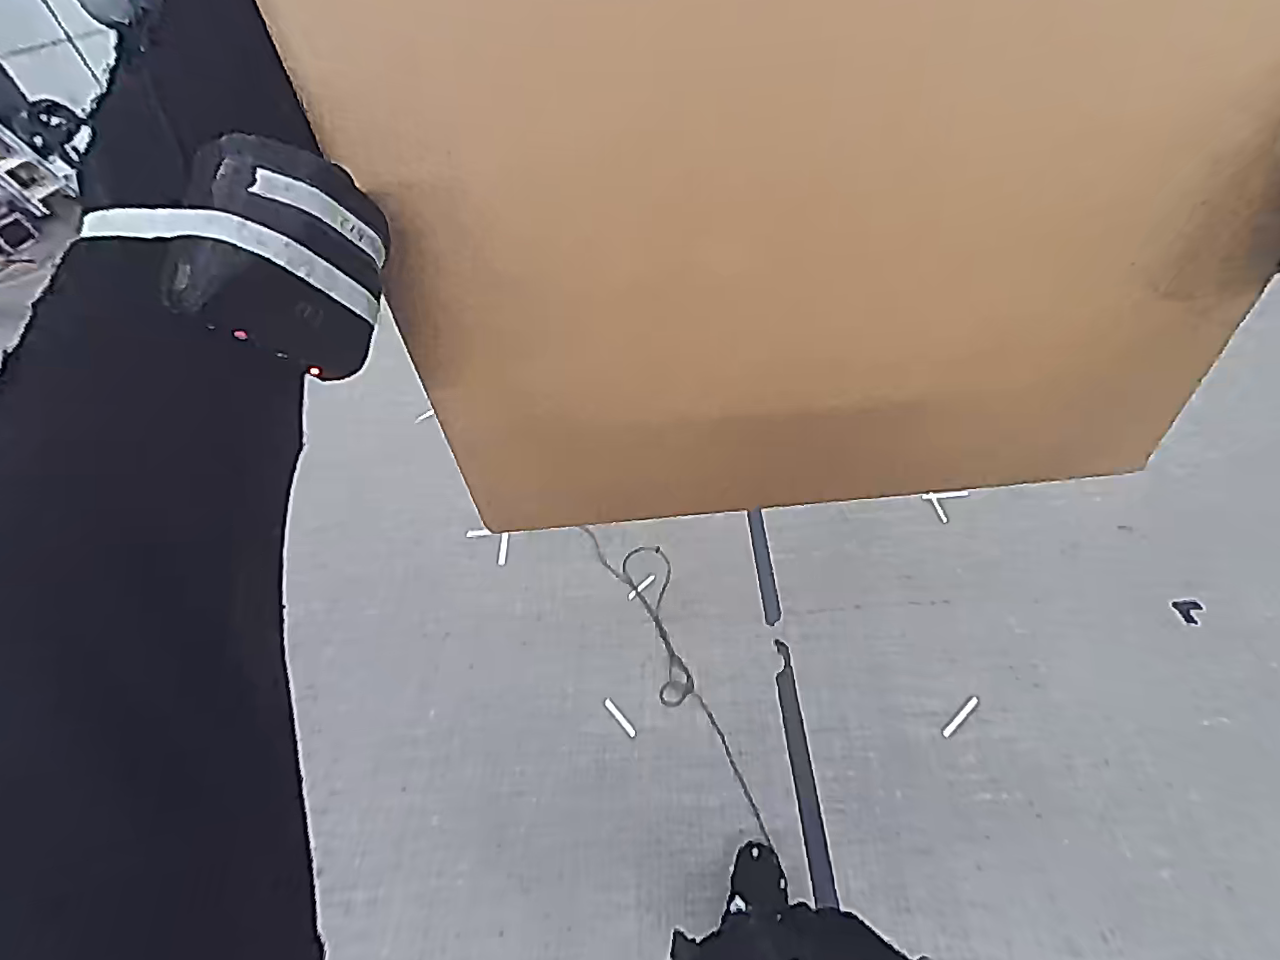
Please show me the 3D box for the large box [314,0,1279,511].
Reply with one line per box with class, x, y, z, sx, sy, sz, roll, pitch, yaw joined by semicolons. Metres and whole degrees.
large box;0.080;-0.207;0.364;0.408;0.320;0.320;-6;42;1
